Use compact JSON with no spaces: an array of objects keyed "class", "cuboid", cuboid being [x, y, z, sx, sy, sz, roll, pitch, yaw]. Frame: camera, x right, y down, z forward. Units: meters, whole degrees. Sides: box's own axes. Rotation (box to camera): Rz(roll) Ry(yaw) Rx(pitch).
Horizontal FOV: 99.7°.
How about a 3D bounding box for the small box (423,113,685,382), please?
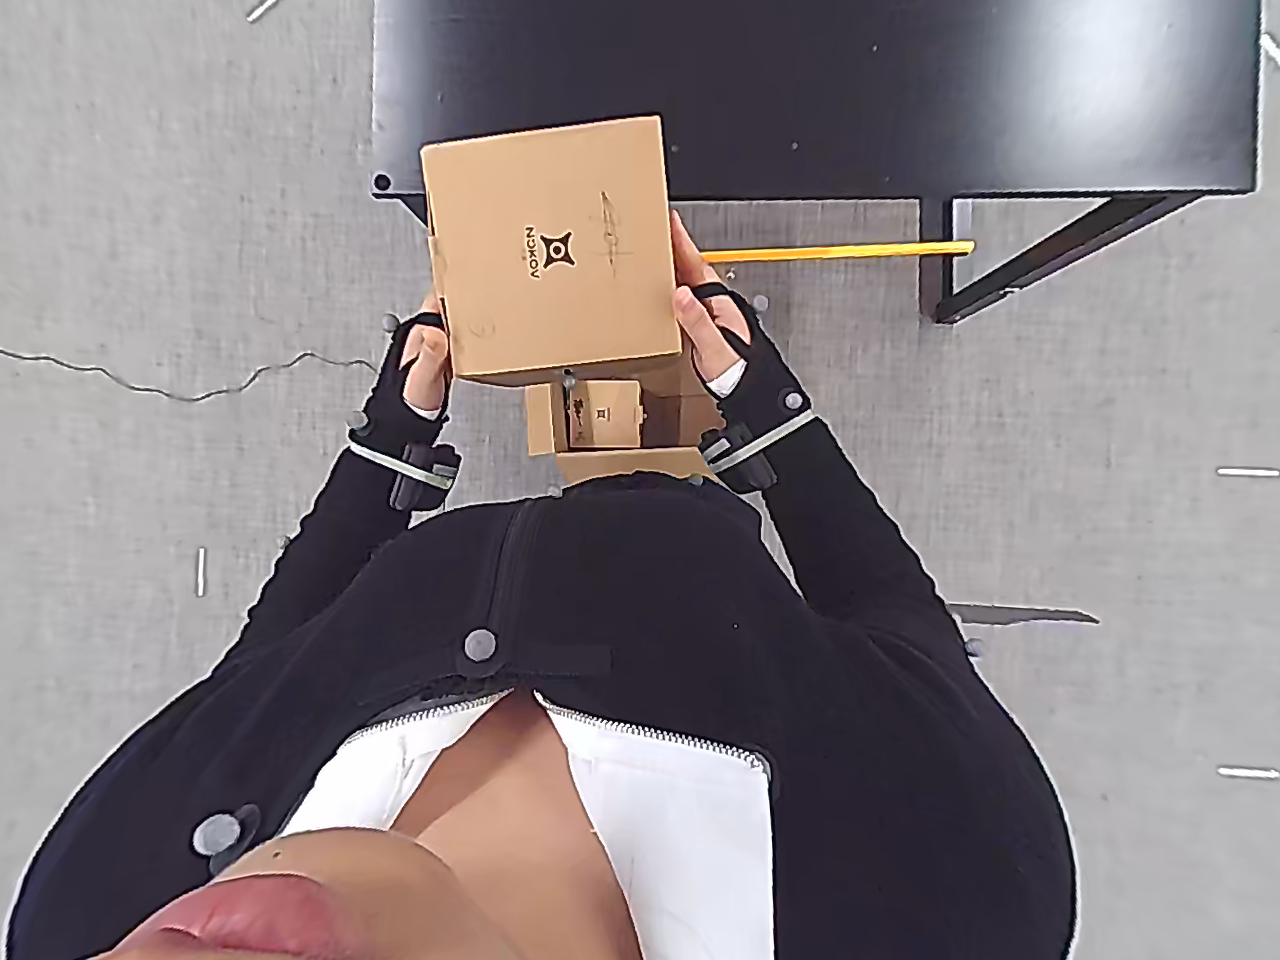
[{"class":"small box","cuboid":[-0.058,-0.177,0.466,0.179,0.176,0.168,-6,98,1]}]
